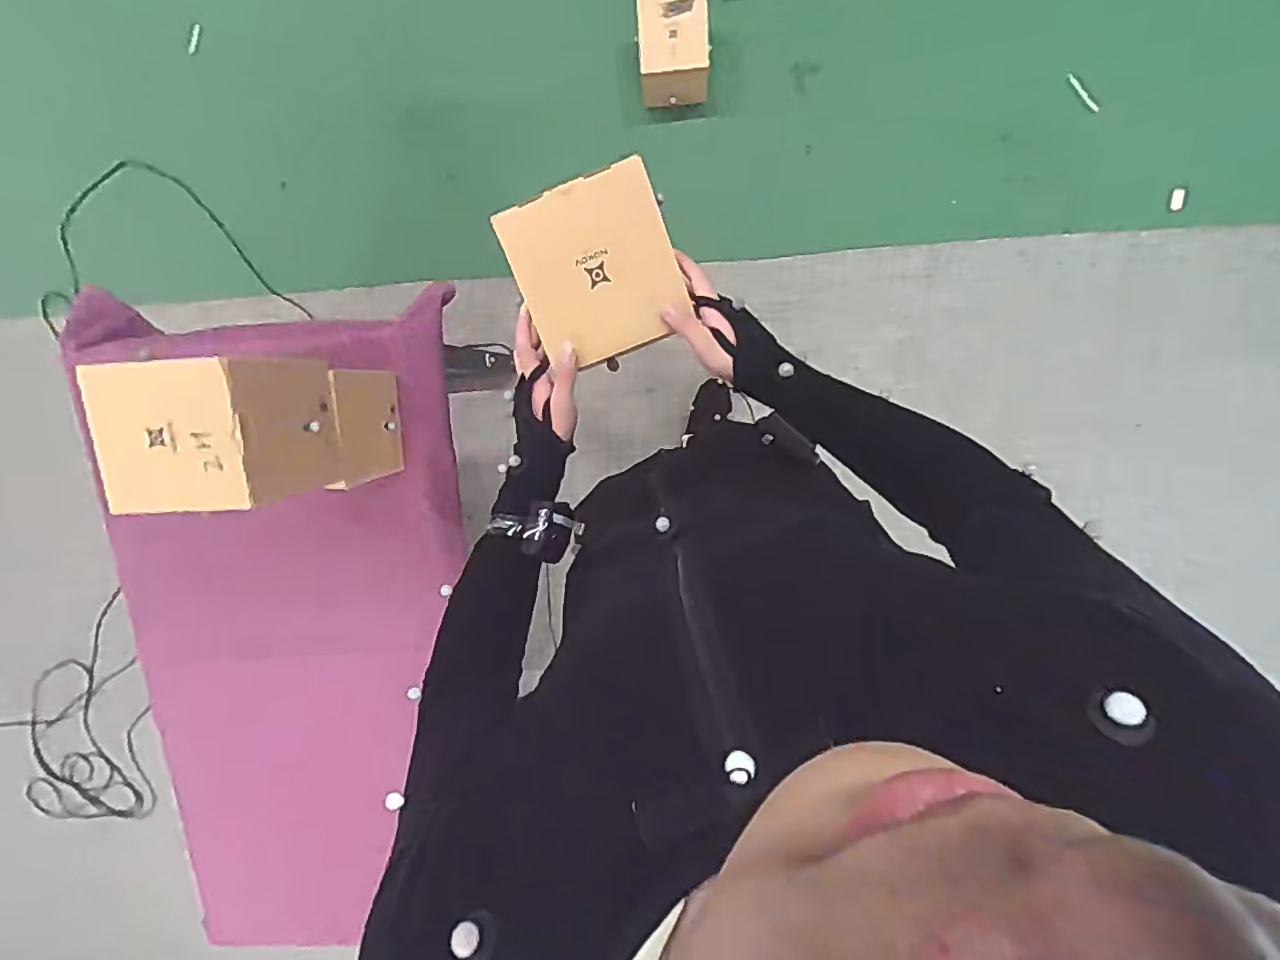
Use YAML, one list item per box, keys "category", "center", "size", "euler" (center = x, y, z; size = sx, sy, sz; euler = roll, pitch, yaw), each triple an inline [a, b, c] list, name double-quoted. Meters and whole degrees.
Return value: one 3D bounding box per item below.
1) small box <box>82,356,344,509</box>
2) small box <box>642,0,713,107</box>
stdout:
- category: "small box"
  center: [-0.505, -0.062, 0.665]
  size: [0.179, 0.176, 0.168]
  euler: [-2, 101, 5]
- category: "small box"
  center: [0.093, -1.077, 1.355]
  size: [0.168, 0.176, 0.179]
  euler: [-3, 101, 5]
